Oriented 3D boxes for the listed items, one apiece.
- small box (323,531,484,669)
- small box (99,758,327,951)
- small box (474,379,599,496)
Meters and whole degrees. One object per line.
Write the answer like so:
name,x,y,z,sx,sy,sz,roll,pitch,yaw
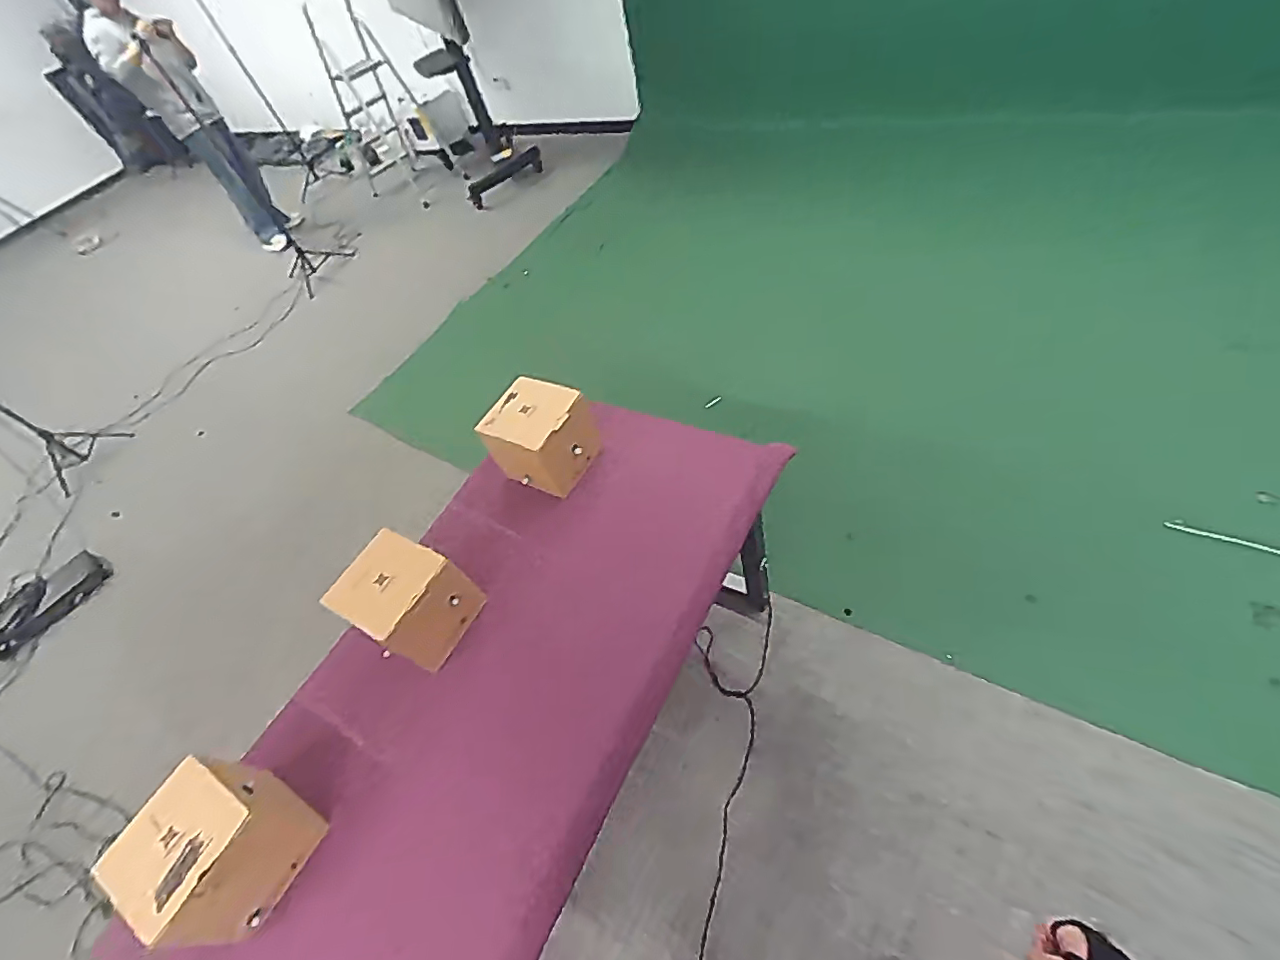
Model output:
small box,-0.424,0.226,0.998,0.179,0.176,0.168,17,60,27
small box,-0.620,0.550,0.808,0.179,0.176,0.168,16,59,27
small box,-0.213,-0.088,1.171,0.179,0.176,0.168,19,61,27
